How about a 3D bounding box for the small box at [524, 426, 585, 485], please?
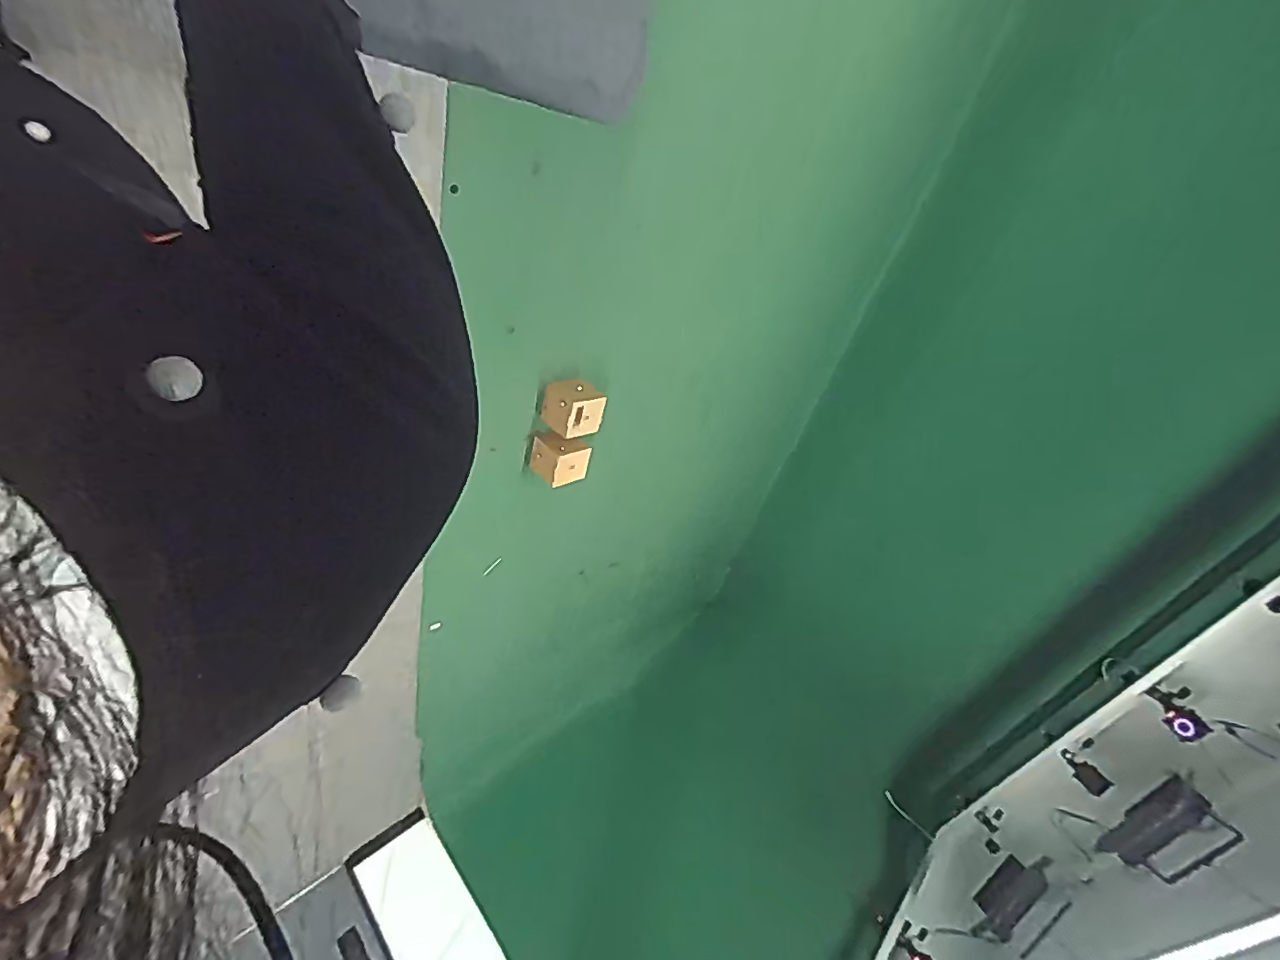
[{"bbox_3d":[-0.363,-0.111,2.290,0.179,0.176,0.168,-20,140,-42],"label":"small box"}]
